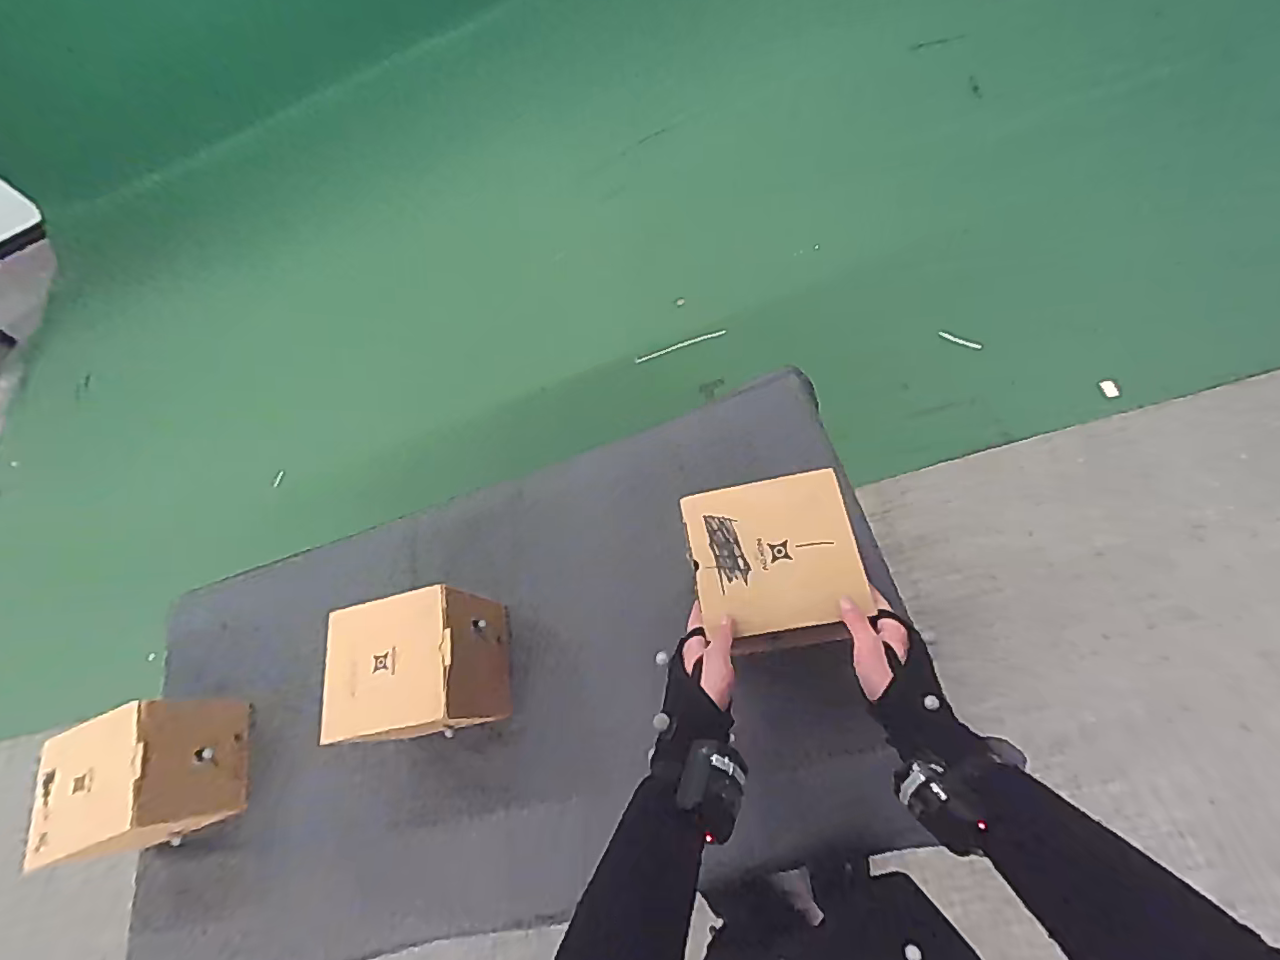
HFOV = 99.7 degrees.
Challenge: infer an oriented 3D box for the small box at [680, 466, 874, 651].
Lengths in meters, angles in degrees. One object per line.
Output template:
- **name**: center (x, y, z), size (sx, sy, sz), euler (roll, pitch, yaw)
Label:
- **small box**: center (0.154, 0.103, 0.643), size (0.179, 0.176, 0.168), euler (-11, 66, 8)

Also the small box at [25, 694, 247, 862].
- **small box**: center (-0.723, 0.426, 0.800), size (0.179, 0.176, 0.168), euler (-22, 64, 5)

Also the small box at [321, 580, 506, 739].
- **small box**: center (-0.298, 0.251, 0.748), size (0.179, 0.176, 0.168), euler (-16, 63, 11)
